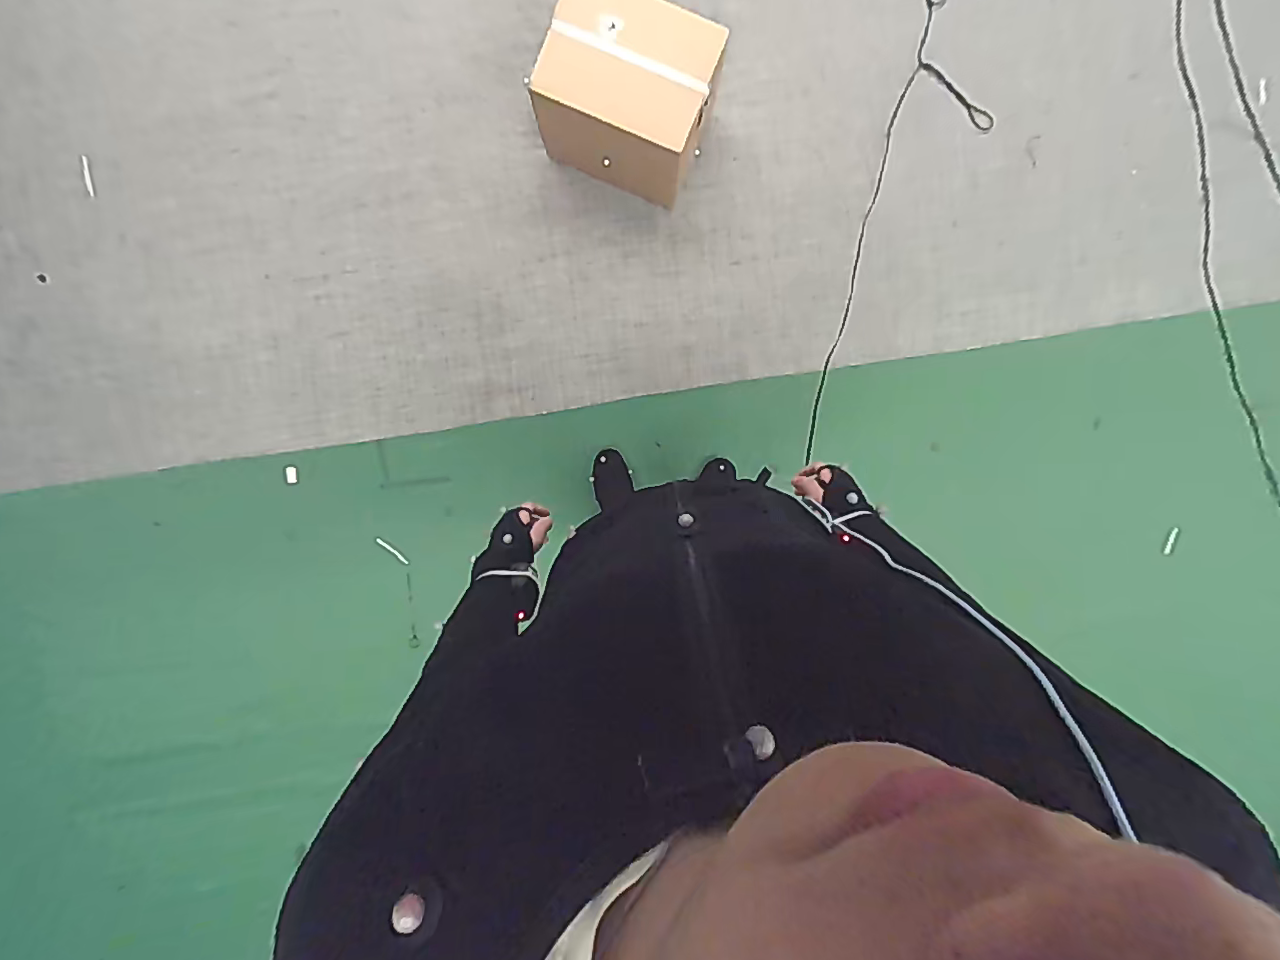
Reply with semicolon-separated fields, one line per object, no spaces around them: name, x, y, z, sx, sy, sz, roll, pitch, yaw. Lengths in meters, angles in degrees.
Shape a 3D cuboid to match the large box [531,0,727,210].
large box;-0.022;-0.998;1.449;0.408;0.320;0.320;22;92;0
